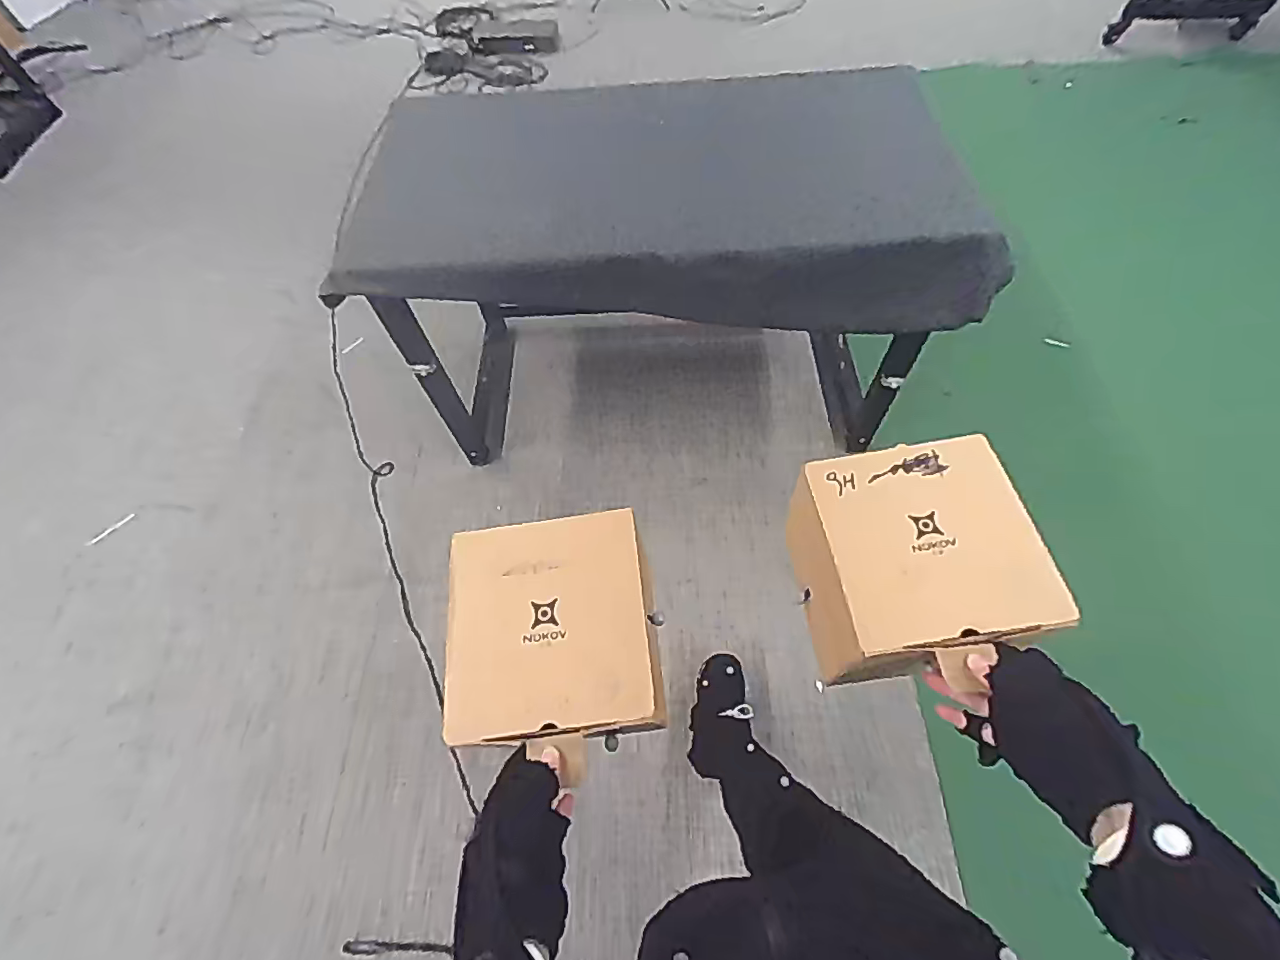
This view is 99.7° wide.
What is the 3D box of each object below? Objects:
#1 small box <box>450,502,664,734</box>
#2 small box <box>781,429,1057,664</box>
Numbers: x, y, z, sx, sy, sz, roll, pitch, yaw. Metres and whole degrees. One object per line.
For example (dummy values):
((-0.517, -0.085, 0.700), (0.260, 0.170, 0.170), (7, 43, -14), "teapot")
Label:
((-0.070, 0.143, 0.525), (0.168, 0.176, 0.179), (-9, 62, 1), "small box")
((0.247, 0.077, 0.534), (0.168, 0.176, 0.179), (-9, 61, 2), "small box")
